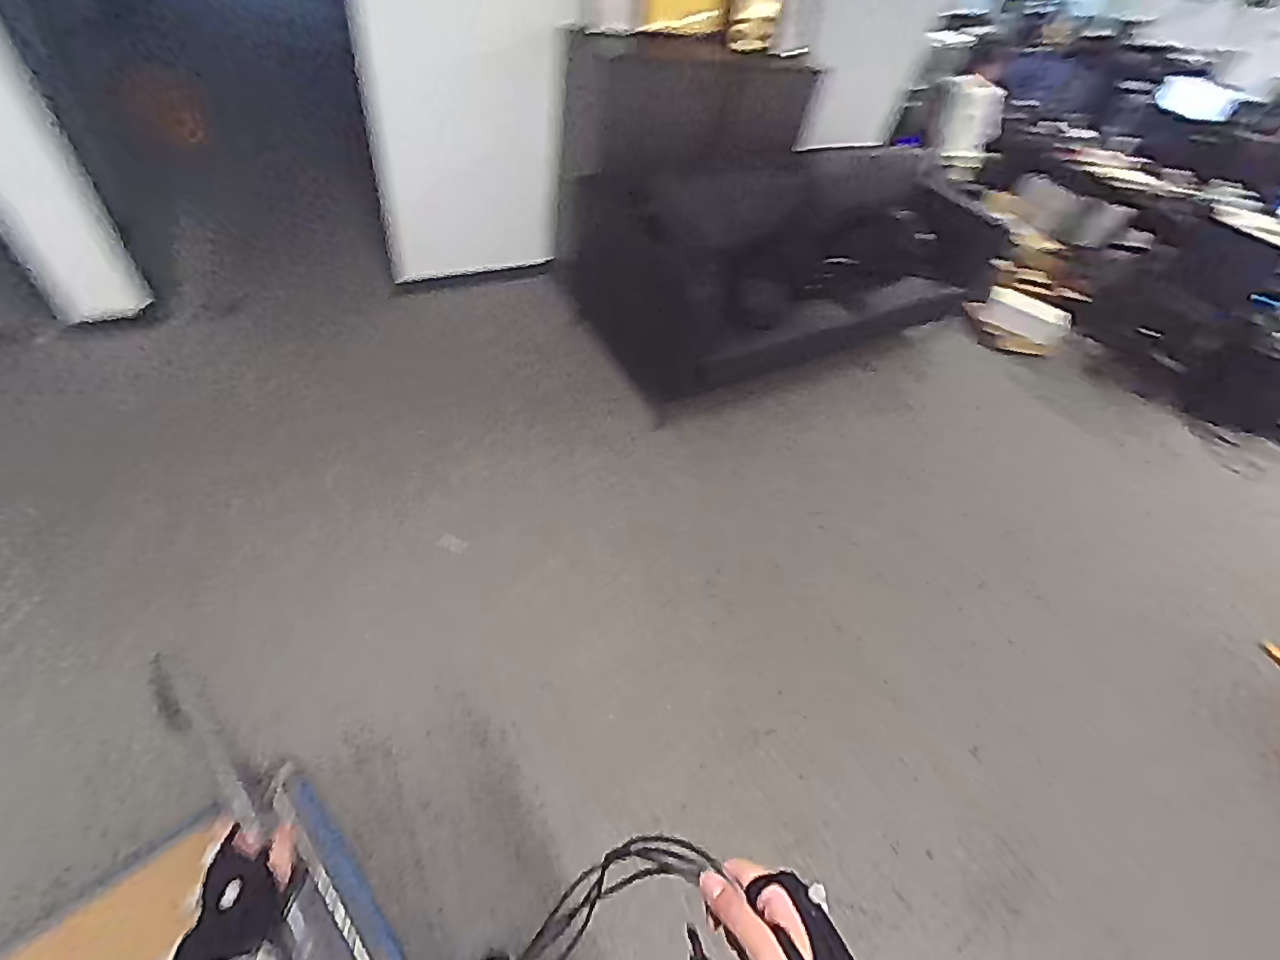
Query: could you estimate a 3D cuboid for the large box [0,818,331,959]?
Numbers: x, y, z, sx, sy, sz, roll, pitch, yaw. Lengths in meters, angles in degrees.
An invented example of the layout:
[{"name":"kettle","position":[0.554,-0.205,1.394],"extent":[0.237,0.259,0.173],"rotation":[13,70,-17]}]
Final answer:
[{"name":"large box","position":[-0.768,0.828,0.841],"extent":[0.408,0.320,0.320],"rotation":[-30,63,-32]}]
